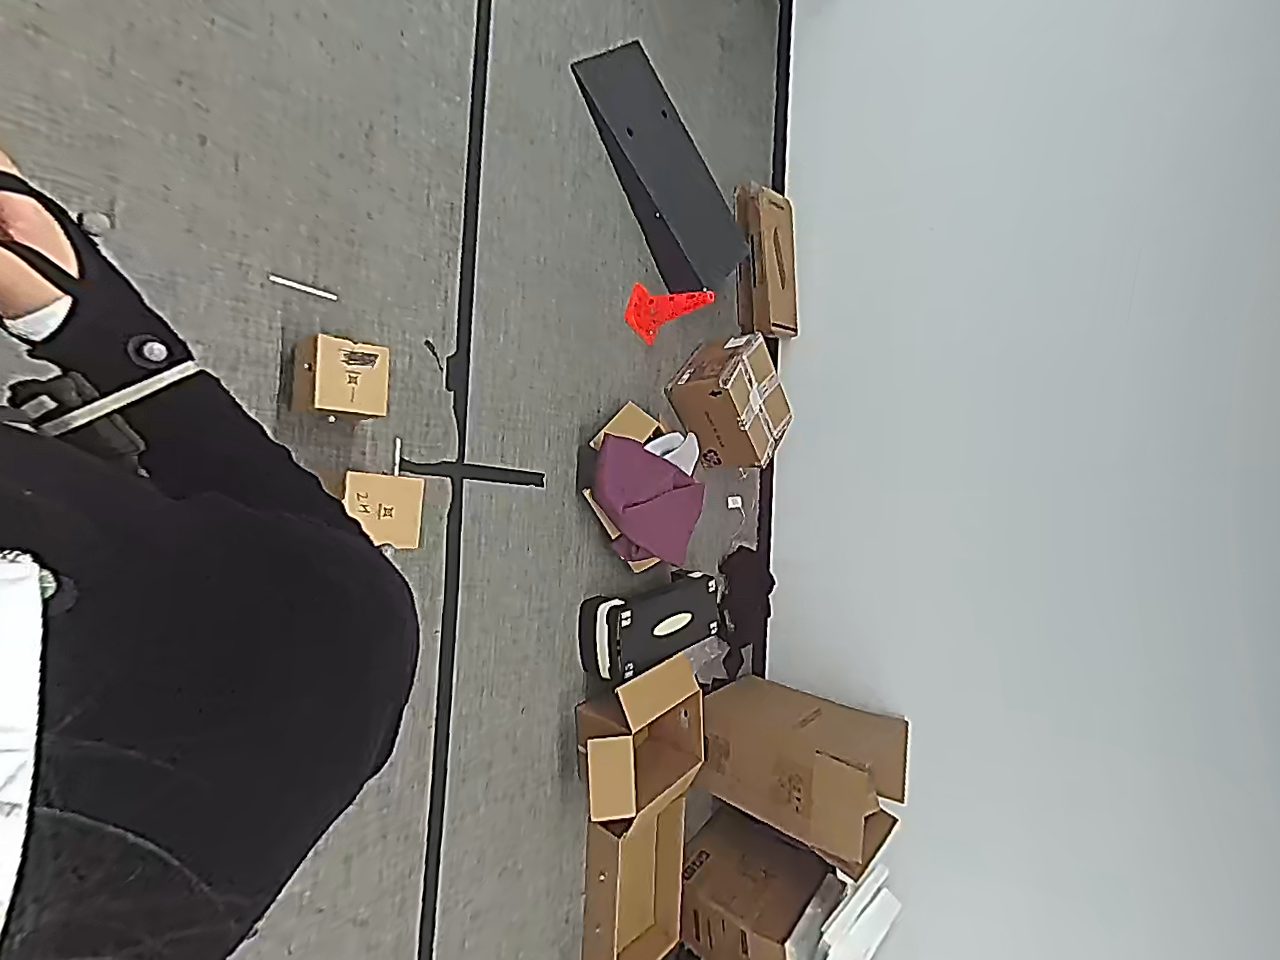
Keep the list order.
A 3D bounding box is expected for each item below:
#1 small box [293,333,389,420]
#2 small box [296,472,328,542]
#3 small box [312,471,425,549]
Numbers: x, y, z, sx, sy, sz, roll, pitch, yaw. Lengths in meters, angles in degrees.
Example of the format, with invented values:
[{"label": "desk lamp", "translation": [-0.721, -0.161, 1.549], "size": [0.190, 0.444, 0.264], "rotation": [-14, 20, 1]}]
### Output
[{"label": "small box", "translation": [-0.750, -0.251, 1.354], "size": [0.168, 0.176, 0.179], "rotation": [4, 88, -48]}, {"label": "small box", "translation": [-0.746, 0.070, 1.367], "size": [0.179, 0.176, 0.168], "rotation": [6, 86, -47]}, {"label": "small box", "translation": [-0.627, 0.068, 1.251], "size": [0.179, 0.176, 0.168], "rotation": [8, 84, -47]}]
